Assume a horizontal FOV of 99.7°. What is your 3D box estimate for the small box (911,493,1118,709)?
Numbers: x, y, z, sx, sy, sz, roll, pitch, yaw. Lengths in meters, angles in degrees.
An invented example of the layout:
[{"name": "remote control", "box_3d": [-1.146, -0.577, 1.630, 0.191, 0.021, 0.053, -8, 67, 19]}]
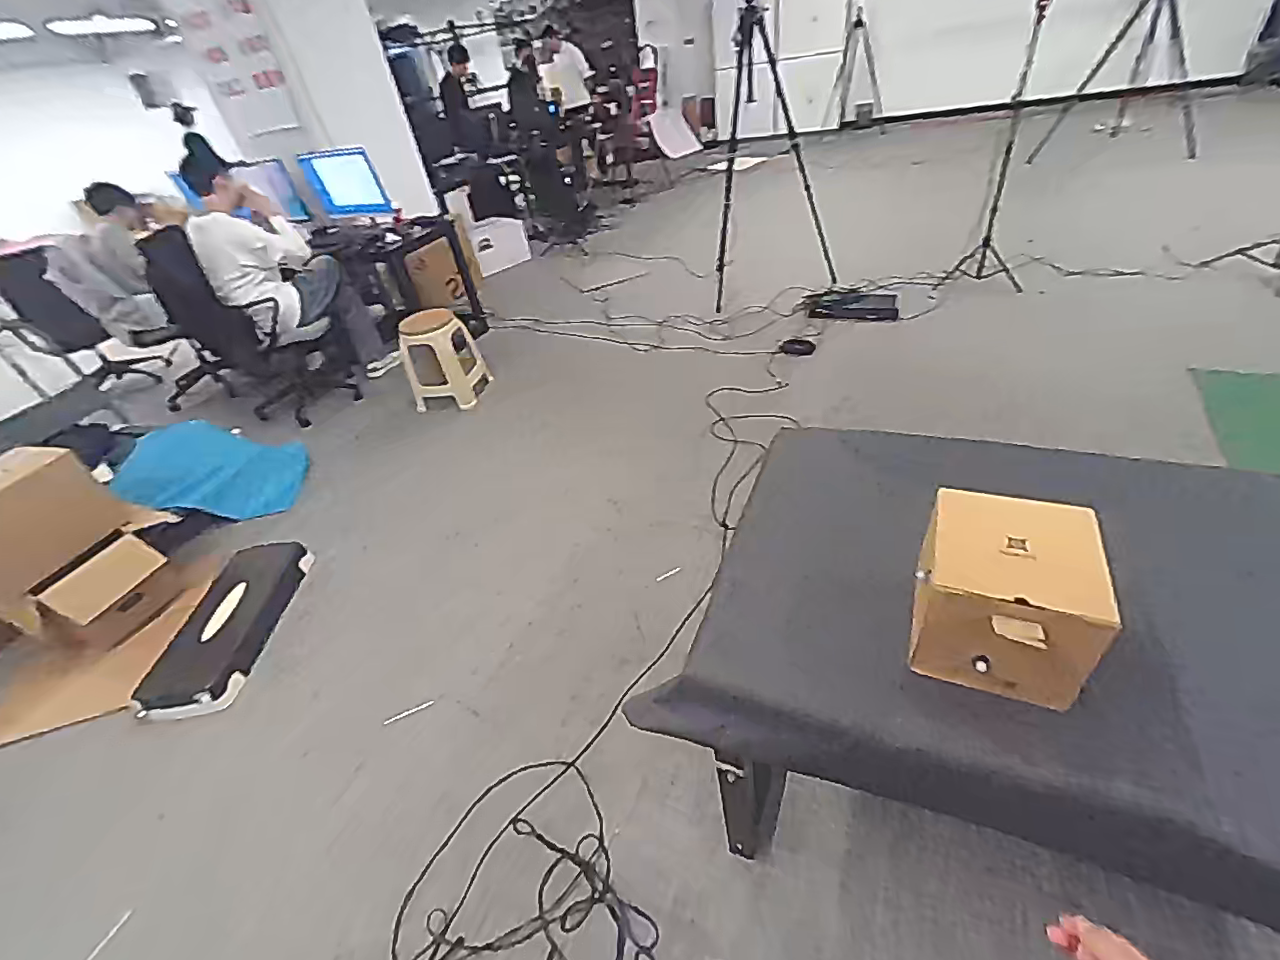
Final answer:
[{"name": "small box", "box_3d": [0.445, 0.145, 0.674, 0.168, 0.176, 0.179, 10, 42, 23]}]
